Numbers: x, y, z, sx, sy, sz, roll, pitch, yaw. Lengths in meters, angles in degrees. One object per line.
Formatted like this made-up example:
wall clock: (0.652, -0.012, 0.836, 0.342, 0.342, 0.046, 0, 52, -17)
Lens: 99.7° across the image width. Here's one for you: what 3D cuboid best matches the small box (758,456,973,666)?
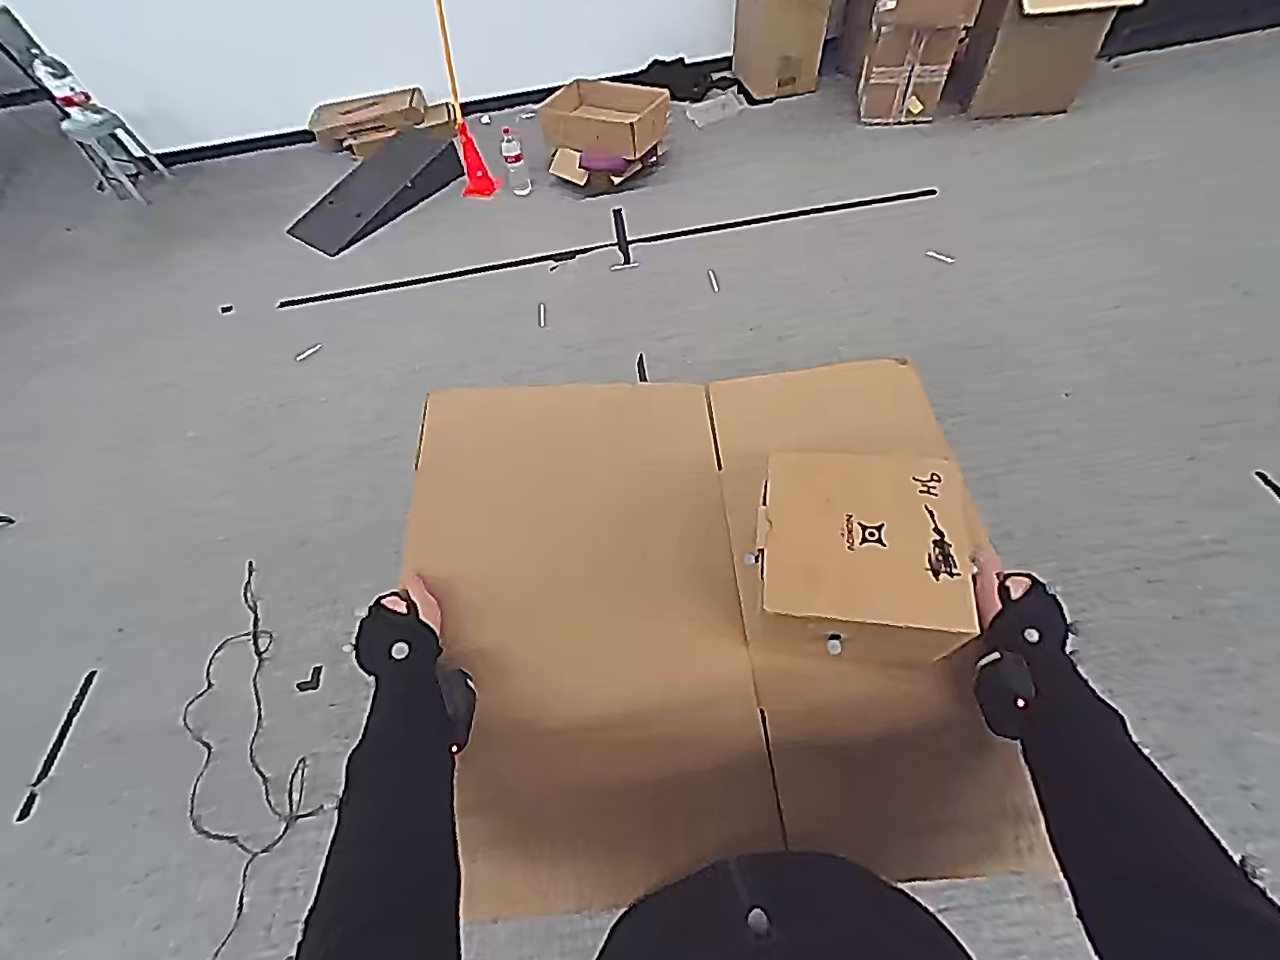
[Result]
small box: (0.216, 0.090, 0.568, 0.179, 0.176, 0.168, 3, 62, 12)
